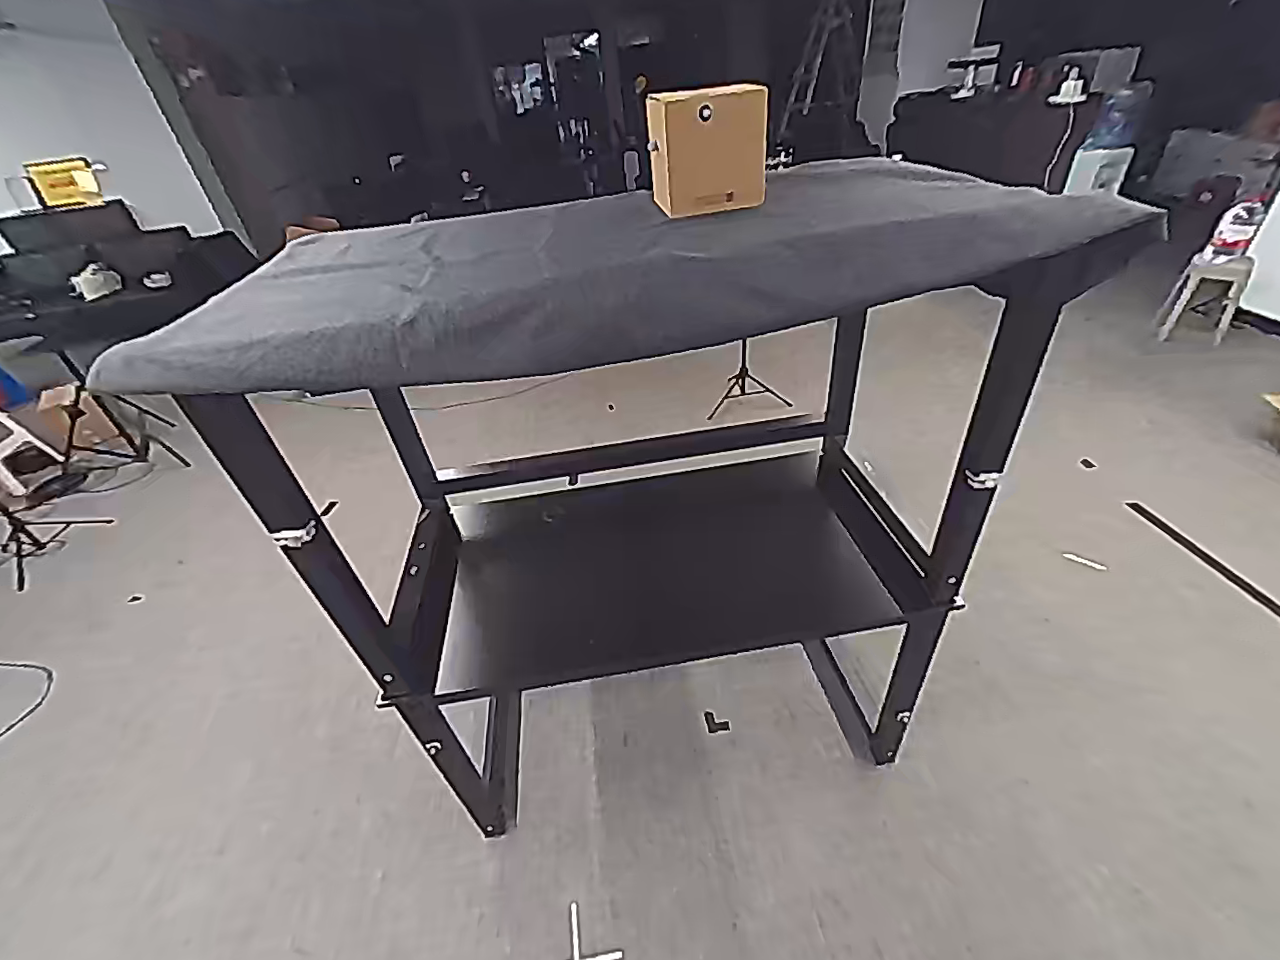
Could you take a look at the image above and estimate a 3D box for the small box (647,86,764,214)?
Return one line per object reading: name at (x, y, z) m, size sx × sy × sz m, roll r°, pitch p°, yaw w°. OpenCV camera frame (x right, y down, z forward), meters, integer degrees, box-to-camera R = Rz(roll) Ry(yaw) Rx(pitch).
small box at (0.109, -0.574, 0.943) m, size 0.168 × 0.176 × 0.179 m, roll -10°, pitch 36°, yaw -3°
